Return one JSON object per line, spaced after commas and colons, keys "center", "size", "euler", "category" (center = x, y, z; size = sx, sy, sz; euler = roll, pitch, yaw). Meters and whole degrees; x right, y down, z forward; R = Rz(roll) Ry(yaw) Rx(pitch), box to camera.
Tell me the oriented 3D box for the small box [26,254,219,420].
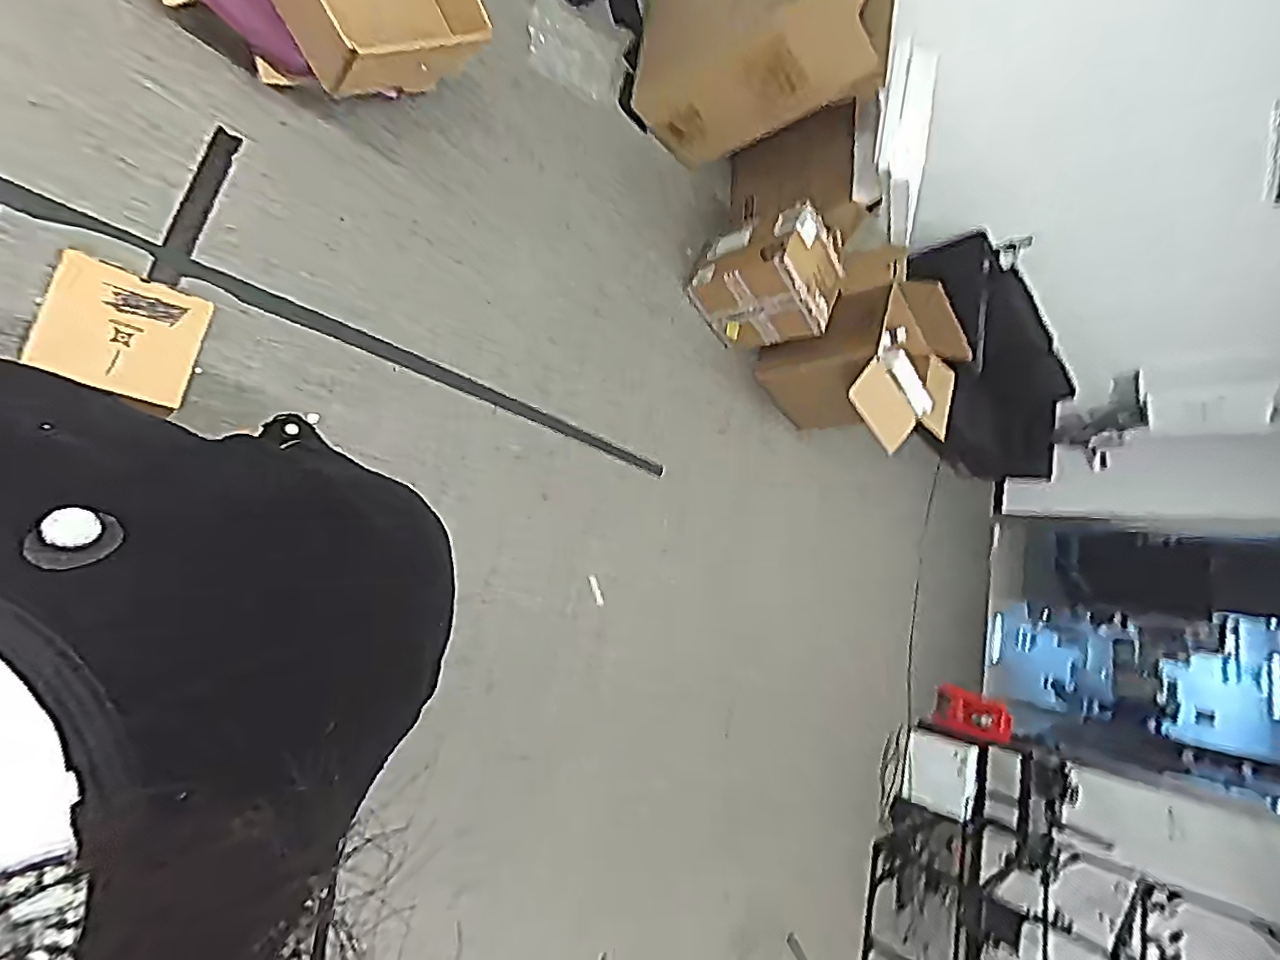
{"center": [-0.780, -0.202, 0.824], "size": [0.168, 0.176, 0.179], "euler": [20, 76, -42], "category": "small box"}
